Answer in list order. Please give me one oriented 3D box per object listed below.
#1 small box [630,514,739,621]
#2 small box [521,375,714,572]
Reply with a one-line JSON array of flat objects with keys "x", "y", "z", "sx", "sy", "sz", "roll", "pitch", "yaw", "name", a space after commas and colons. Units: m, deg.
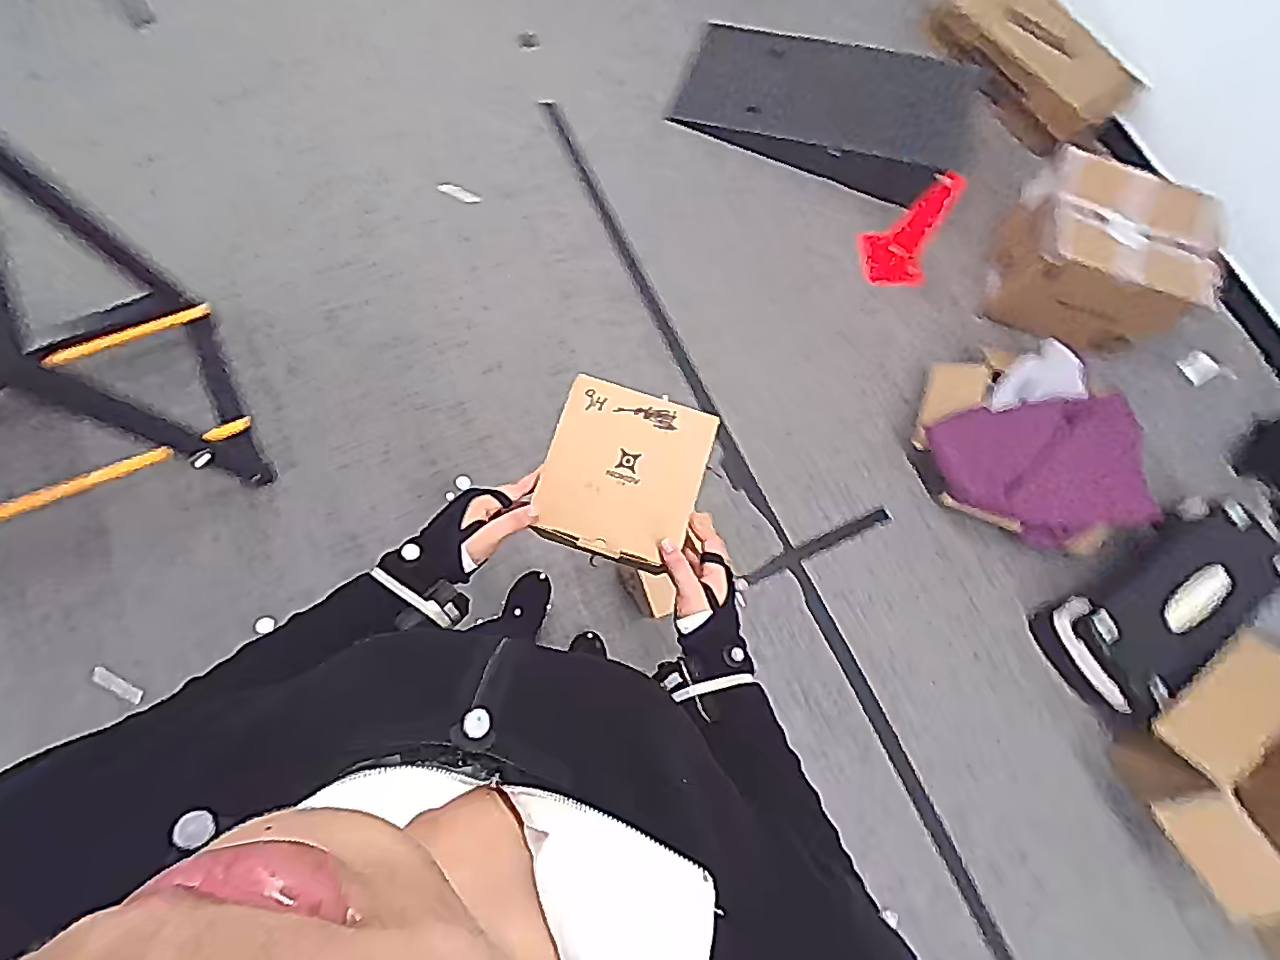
[{"x": 0.080, "y": 0.184, "z": 1.125, "sx": 0.179, "sy": 0.176, "sz": 0.168, "roll": -18, "pitch": 78, "yaw": -8, "name": "small box"}, {"x": -0.024, "y": 0.005, "z": 0.641, "sx": 0.168, "sy": 0.176, "sz": 0.179, "roll": 16, "pitch": 79, "yaw": 0, "name": "small box"}]
